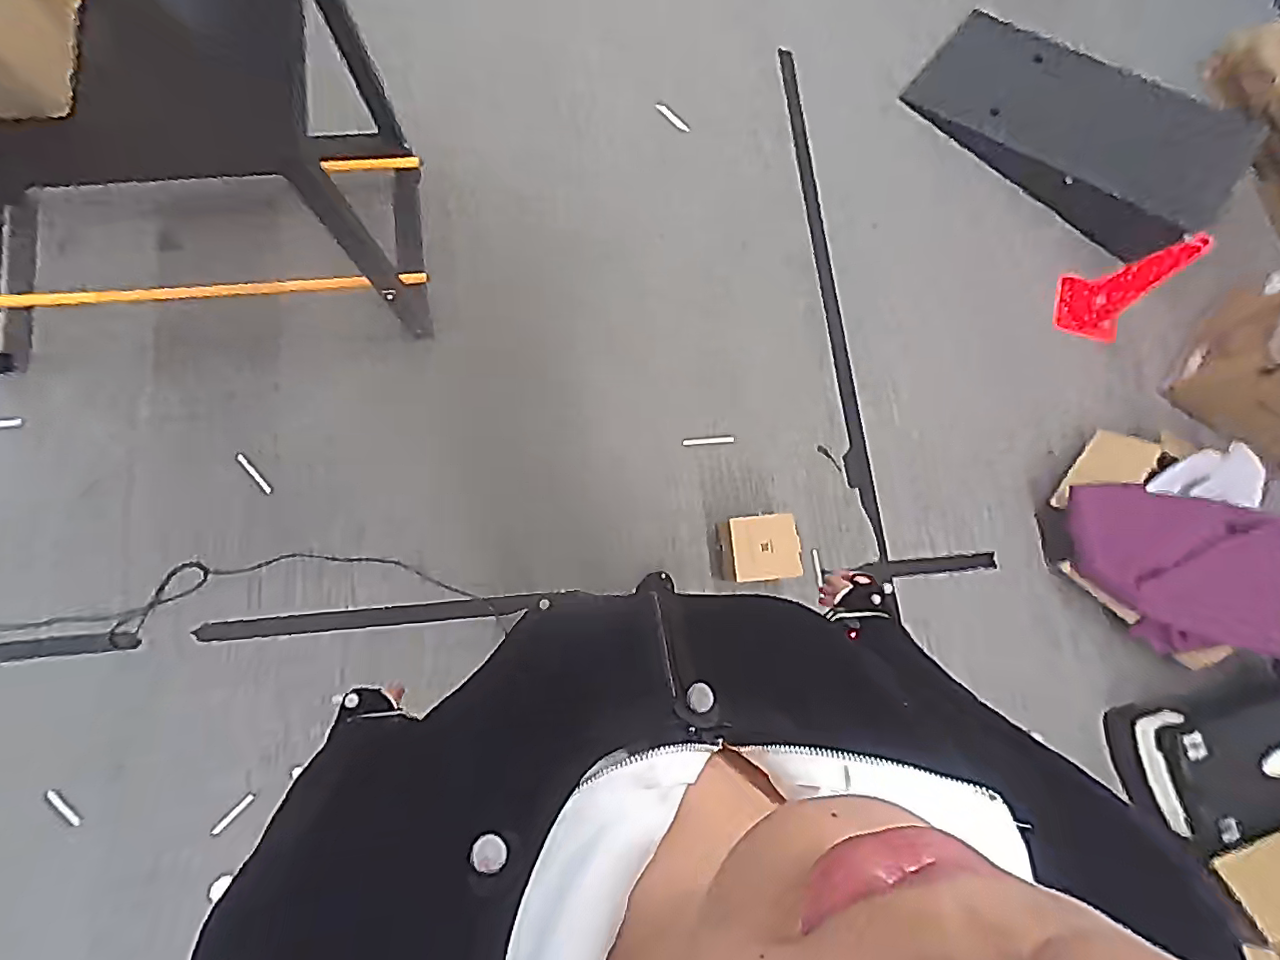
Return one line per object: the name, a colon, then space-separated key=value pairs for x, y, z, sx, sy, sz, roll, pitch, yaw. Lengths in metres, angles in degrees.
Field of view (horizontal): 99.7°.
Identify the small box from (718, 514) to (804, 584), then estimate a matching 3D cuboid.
small box: x=0.321 y=0.188 z=1.457 sx=0.179 sy=0.176 sz=0.168 roll=-5 pitch=80 yaw=-3
